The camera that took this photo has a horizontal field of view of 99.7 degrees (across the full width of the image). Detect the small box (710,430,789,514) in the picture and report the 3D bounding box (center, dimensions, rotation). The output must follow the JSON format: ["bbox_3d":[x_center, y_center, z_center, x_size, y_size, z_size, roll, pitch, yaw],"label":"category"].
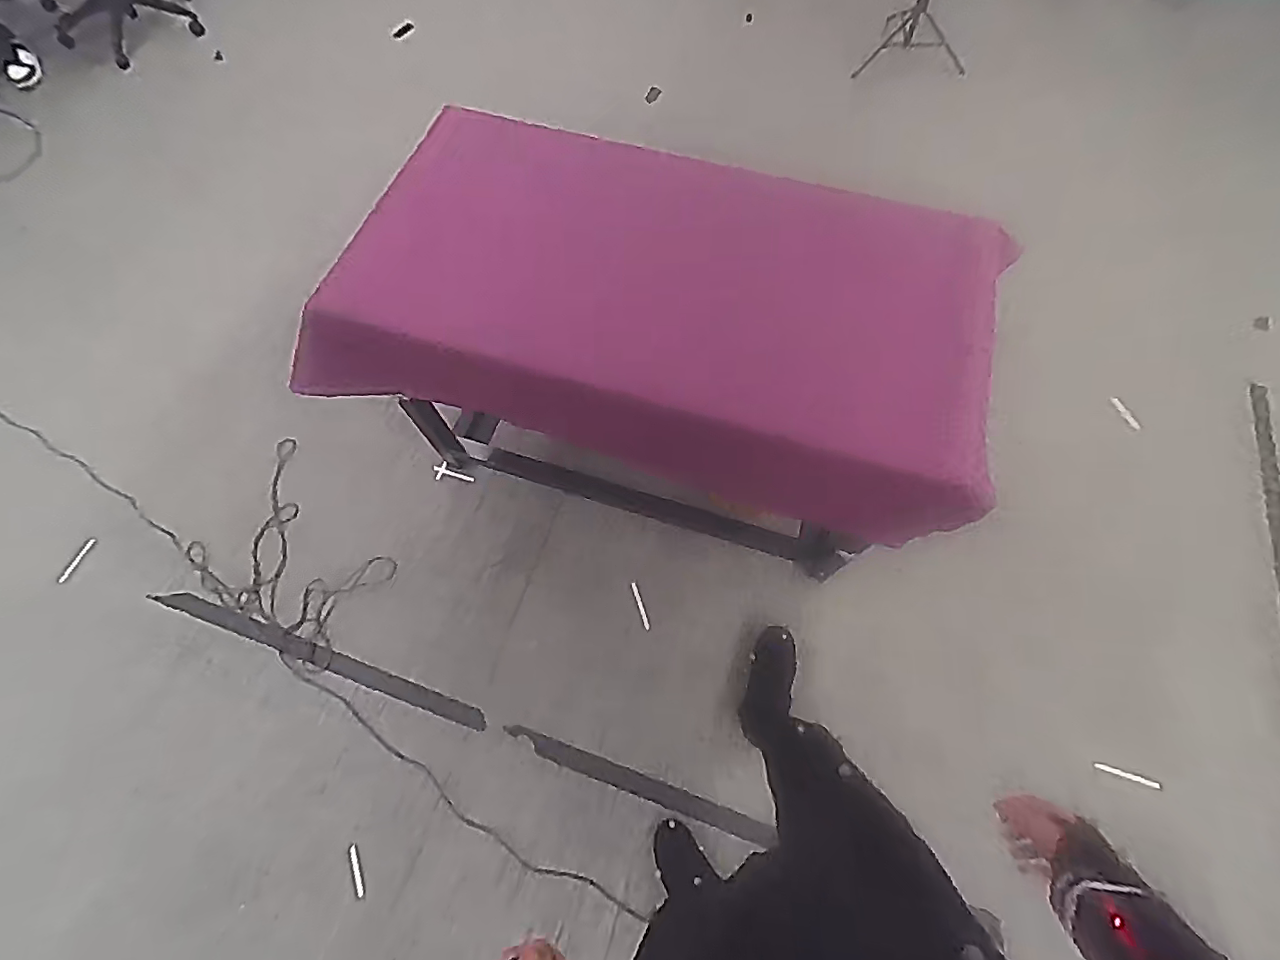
[{"bbox_3d":[0.313,-0.017,1.570,0.179,0.176,0.168,17,67,9],"label":"small box"}]
